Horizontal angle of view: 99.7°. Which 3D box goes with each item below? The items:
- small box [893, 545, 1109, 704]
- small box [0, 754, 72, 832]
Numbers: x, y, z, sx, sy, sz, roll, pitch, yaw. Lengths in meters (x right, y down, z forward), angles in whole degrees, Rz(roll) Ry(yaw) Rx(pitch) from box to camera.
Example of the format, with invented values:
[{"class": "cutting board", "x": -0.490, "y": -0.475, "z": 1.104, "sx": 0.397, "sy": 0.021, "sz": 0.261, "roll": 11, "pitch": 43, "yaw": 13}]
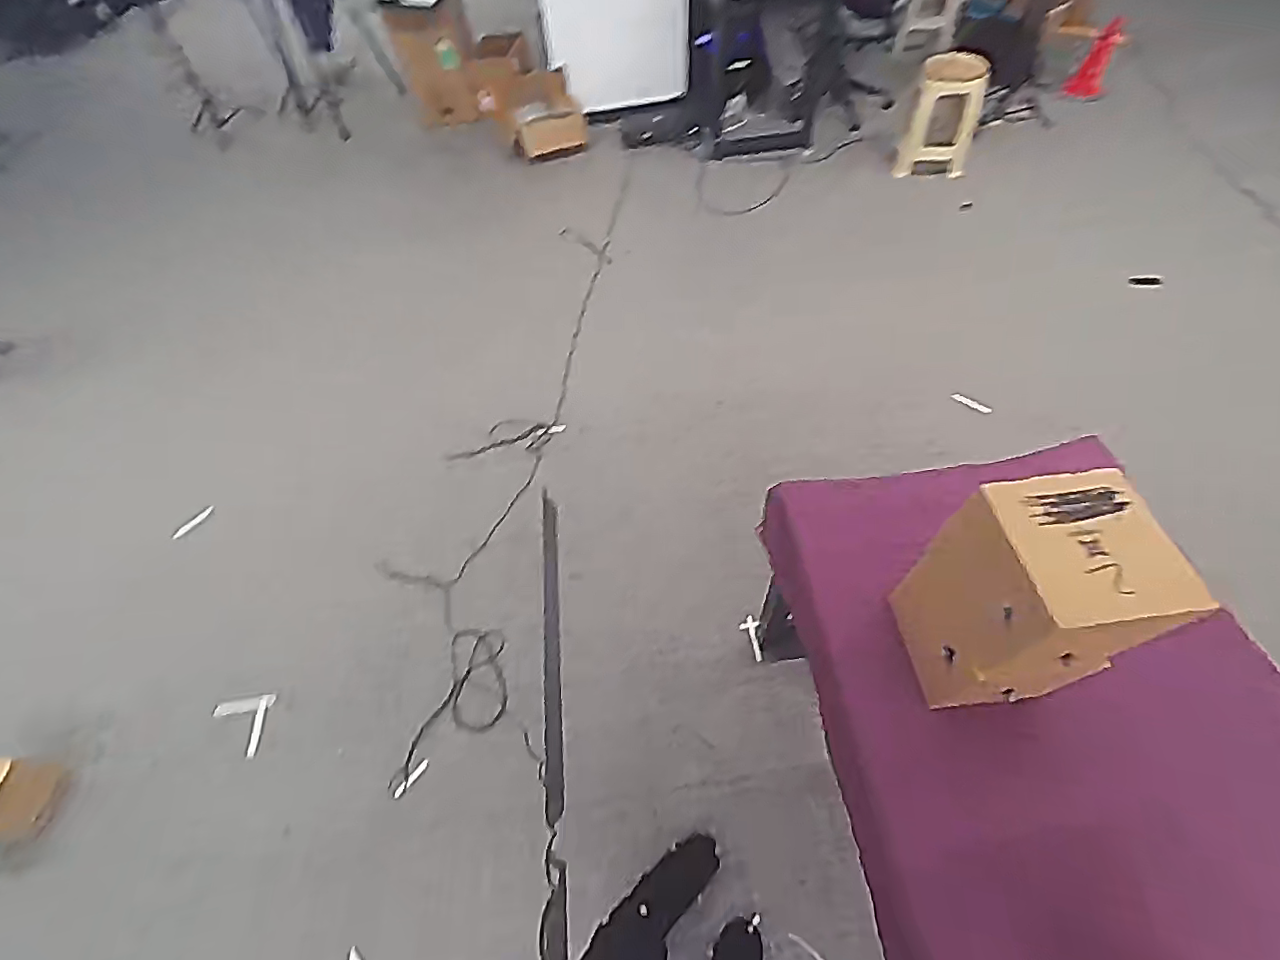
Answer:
[{"class": "small box", "x": 0.491, "y": 0.213, "z": 0.770, "sx": 0.168, "sy": 0.176, "sz": 0.179, "roll": -6, "pitch": 56, "yaw": 0}, {"class": "small box", "x": -1.687, "y": 0.829, "z": 1.426, "sx": 0.179, "sy": 0.176, "sz": 0.168, "roll": -6, "pitch": 55, "yaw": 2}]
